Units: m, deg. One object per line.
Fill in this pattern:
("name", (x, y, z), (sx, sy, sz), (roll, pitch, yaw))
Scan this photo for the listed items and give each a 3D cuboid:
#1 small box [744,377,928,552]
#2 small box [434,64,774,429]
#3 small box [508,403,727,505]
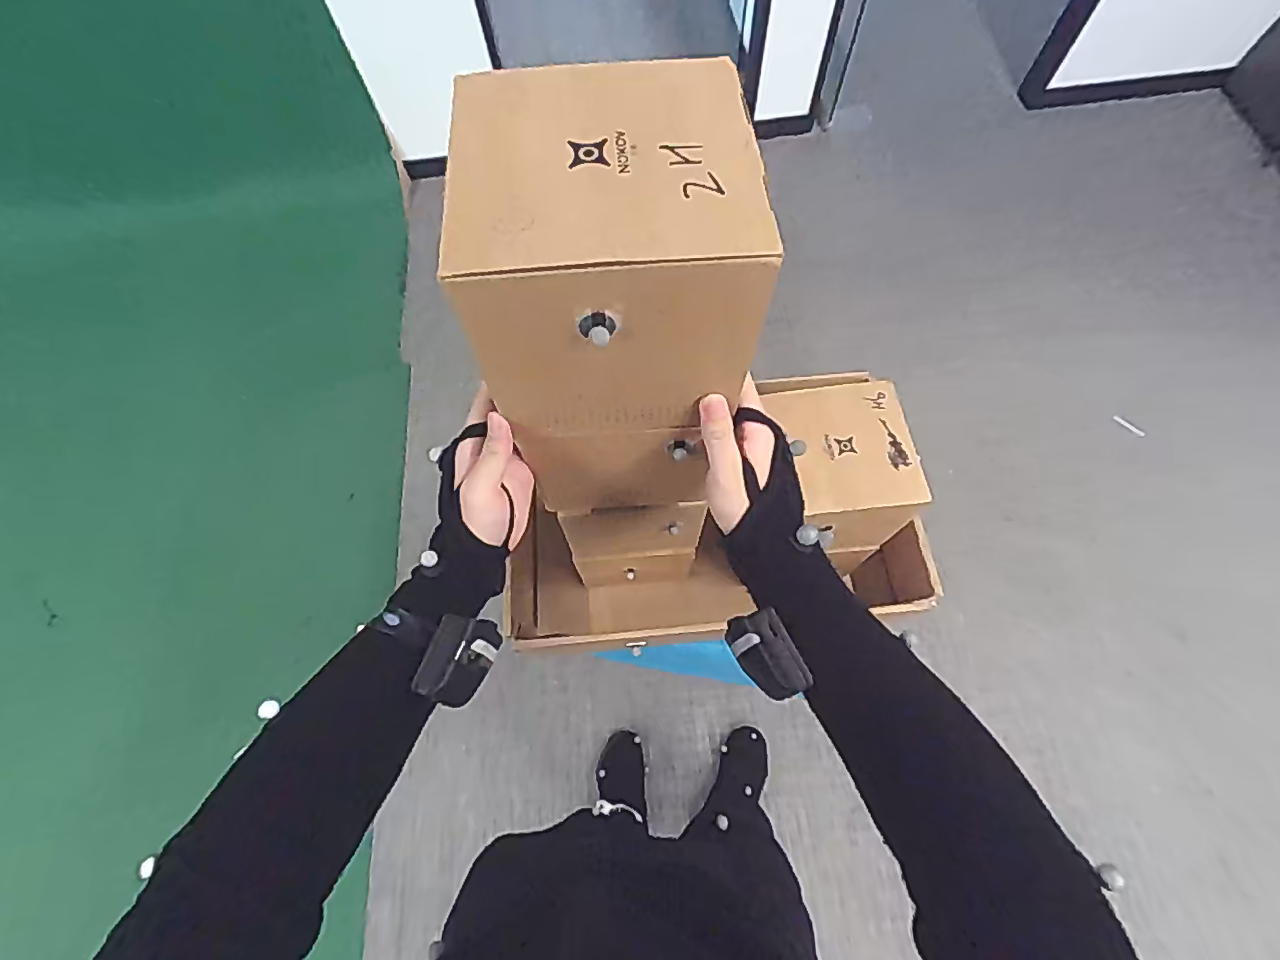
("small box", (0.236, -0.011, 0.709), (0.179, 0.176, 0.168), (-7, 67, 2))
("small box", (-0.023, -0.146, 0.376), (0.179, 0.176, 0.168), (-4, 67, -2))
("small box", (-0.022, -0.082, 0.528), (0.179, 0.176, 0.168), (-4, 66, -2))
